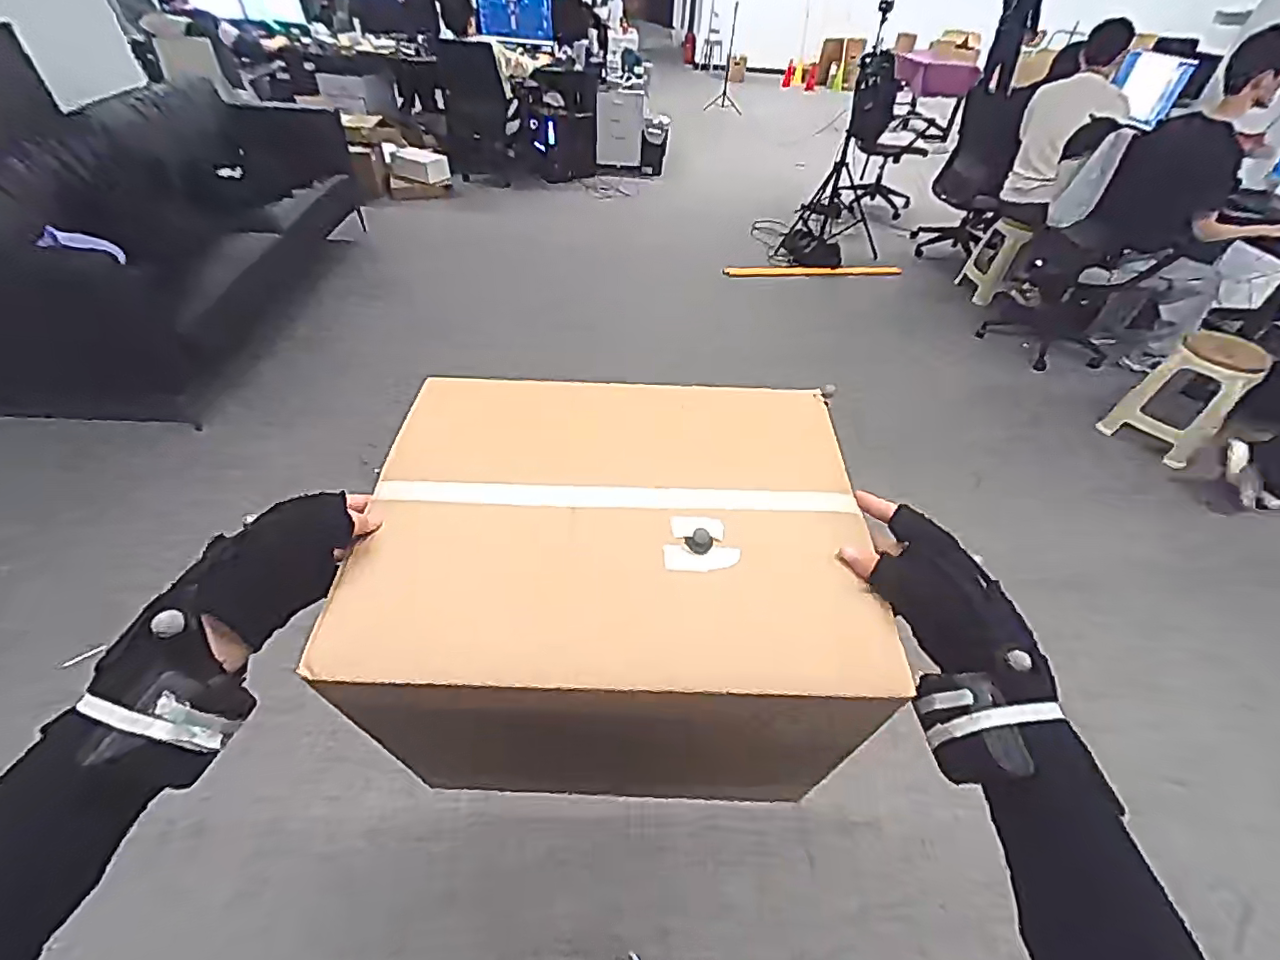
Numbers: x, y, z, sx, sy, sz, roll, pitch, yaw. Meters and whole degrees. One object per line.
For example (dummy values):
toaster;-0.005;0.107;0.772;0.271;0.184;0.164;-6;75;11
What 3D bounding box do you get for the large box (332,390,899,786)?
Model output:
large box;-0.019;0.121;0.580;0.408;0.320;0.320;1;49;0
